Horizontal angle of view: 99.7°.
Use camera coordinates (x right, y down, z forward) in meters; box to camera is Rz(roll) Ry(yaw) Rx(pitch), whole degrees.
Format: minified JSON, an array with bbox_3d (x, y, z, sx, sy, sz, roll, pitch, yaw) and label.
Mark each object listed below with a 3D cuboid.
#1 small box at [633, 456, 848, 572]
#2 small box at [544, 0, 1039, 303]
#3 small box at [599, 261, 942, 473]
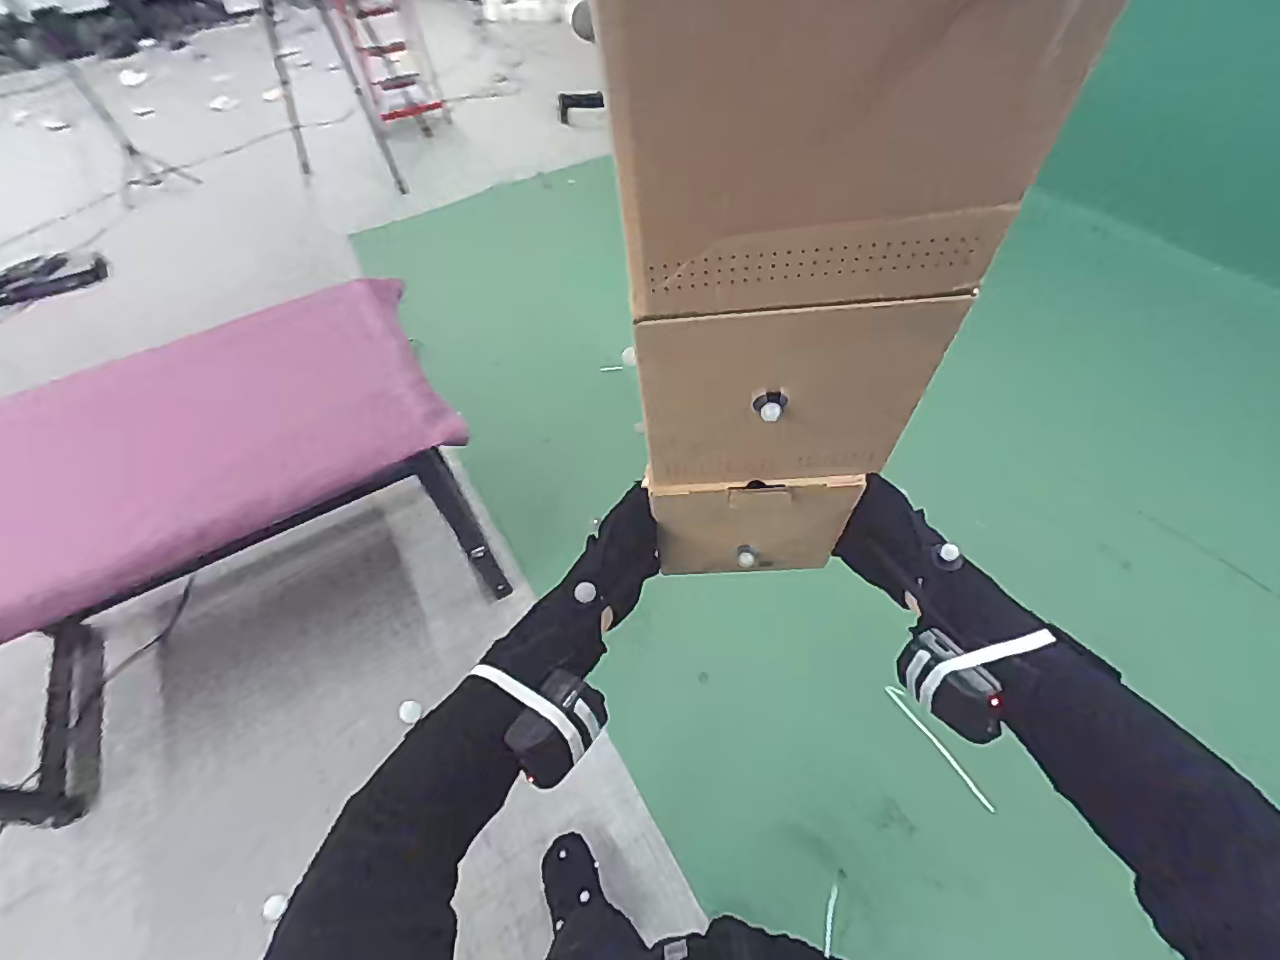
[{"bbox_3d":[0.083,-0.025,0.523,0.168,0.176,0.179,-4,58,5],"label":"small box"},{"bbox_3d":[0.054,-0.201,0.248,0.179,0.176,0.168,-4,58,3],"label":"small box"},{"bbox_3d":[0.073,-0.116,0.383,0.179,0.176,0.168,-2,56,5],"label":"small box"}]
